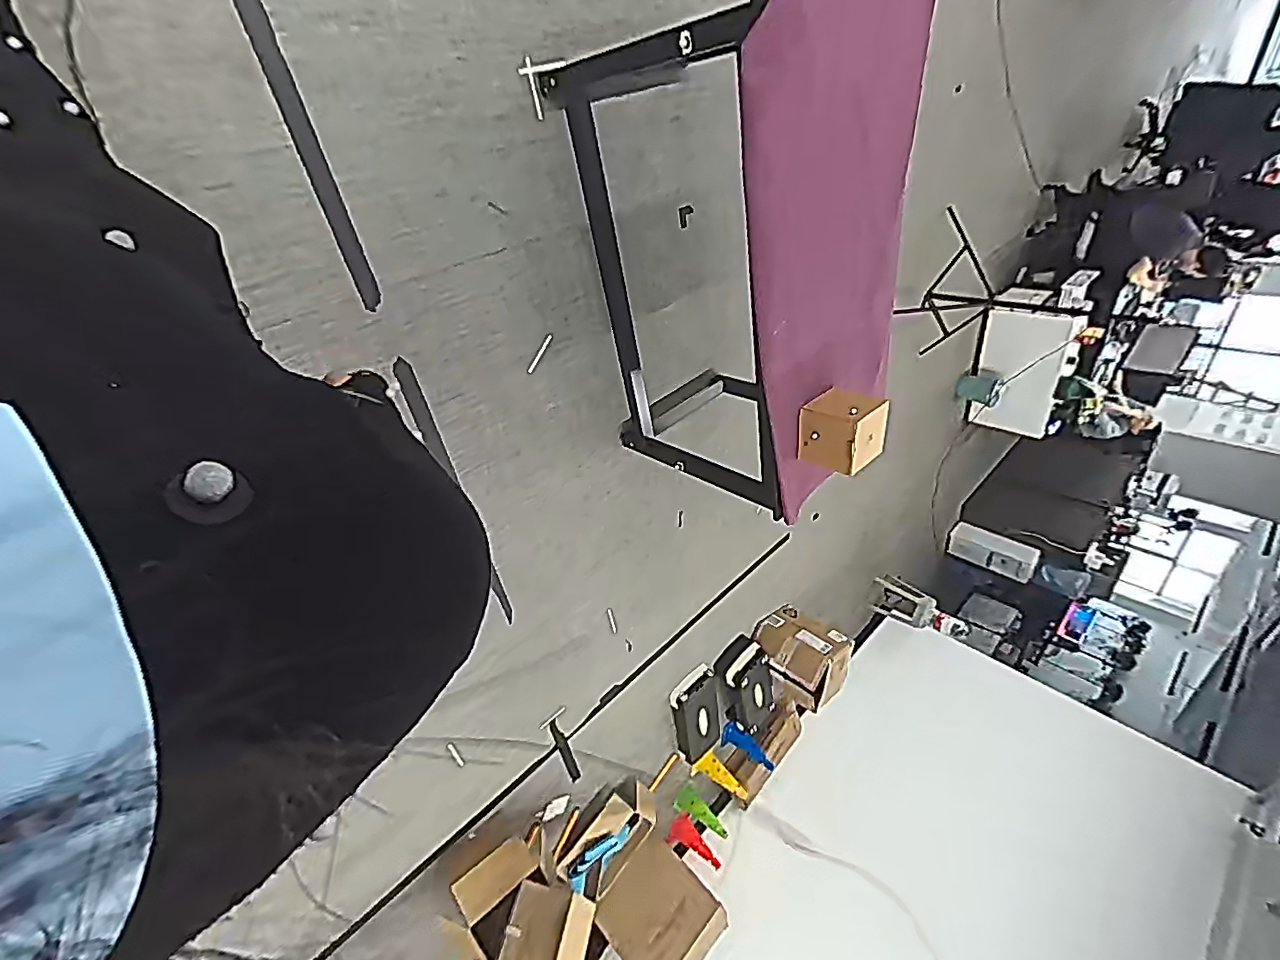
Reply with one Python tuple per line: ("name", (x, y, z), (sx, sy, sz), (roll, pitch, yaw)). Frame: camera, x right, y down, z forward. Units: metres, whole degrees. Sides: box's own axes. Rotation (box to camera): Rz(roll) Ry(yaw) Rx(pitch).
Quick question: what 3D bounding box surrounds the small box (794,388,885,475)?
("small box", (0.555, -0.142, 1.512), (0.179, 0.176, 0.168), (-31, 129, -33))
